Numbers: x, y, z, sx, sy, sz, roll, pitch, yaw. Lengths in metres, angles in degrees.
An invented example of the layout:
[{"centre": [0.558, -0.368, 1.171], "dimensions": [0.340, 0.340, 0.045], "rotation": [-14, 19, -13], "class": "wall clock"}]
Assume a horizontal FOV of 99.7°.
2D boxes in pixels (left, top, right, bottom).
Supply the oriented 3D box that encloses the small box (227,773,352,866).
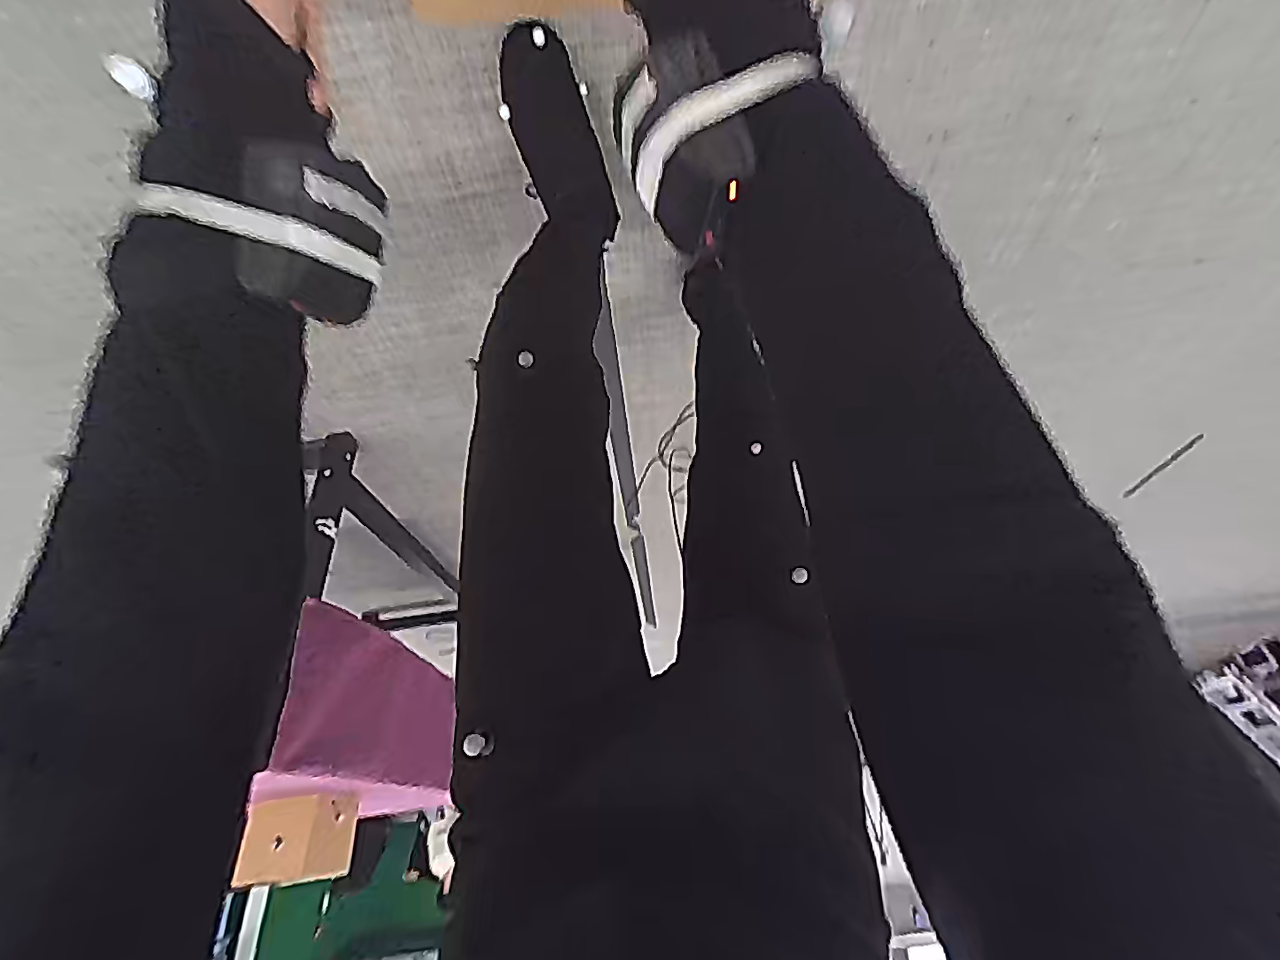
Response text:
[{"centre": [-0.835, 0.819, 1.308], "dimensions": [0.179, 0.176, 0.168], "rotation": [-10, 148, 5], "class": "small box"}]
